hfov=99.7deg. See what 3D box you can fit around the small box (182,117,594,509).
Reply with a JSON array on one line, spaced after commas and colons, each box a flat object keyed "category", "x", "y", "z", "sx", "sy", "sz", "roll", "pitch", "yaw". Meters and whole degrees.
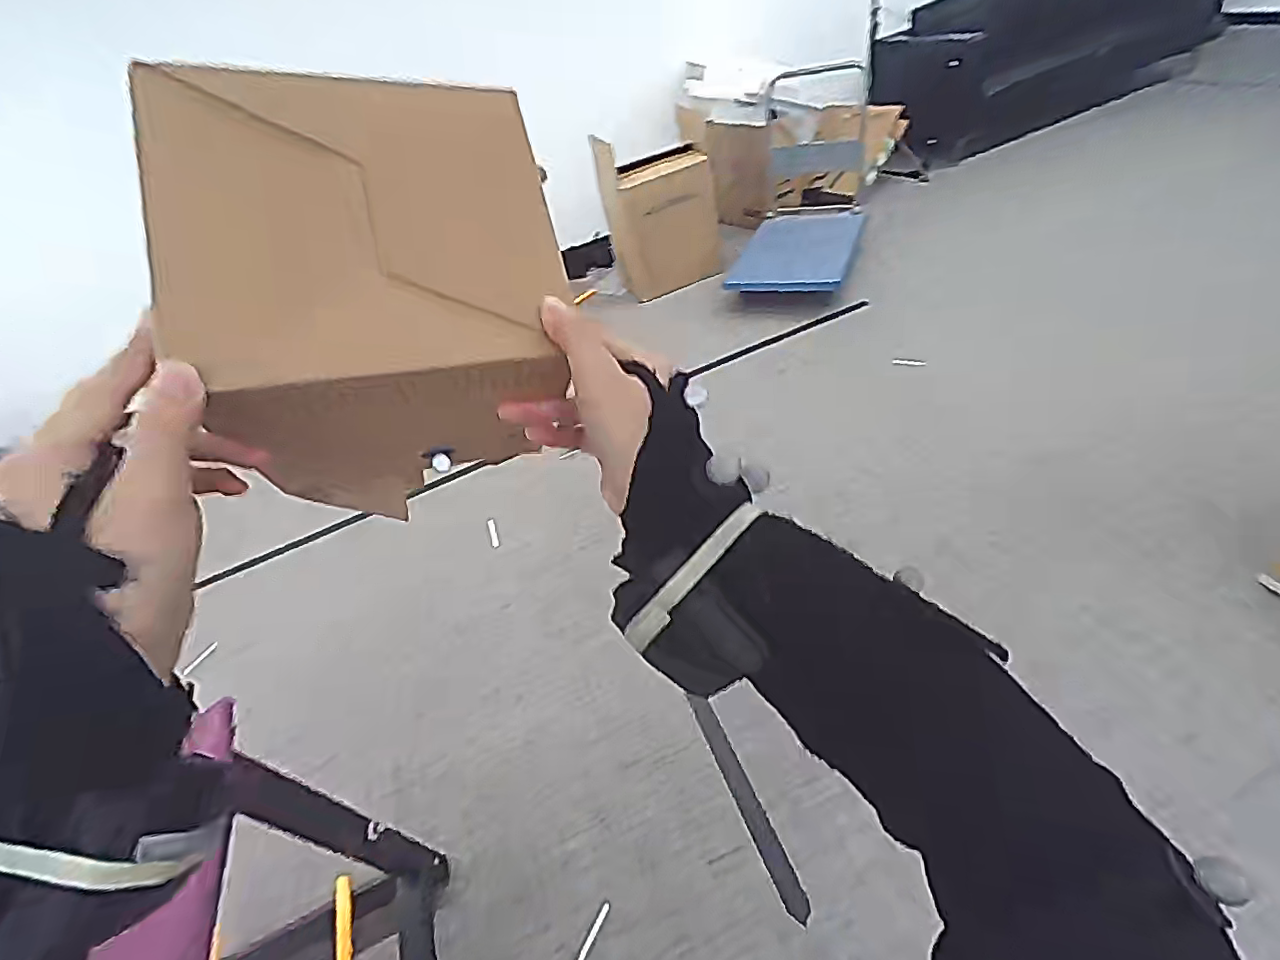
[{"category": "small box", "x": -0.141, "y": -0.093, "z": 0.344, "sx": 0.179, "sy": 0.176, "sz": 0.168, "roll": -11, "pitch": 77, "yaw": -22}]
